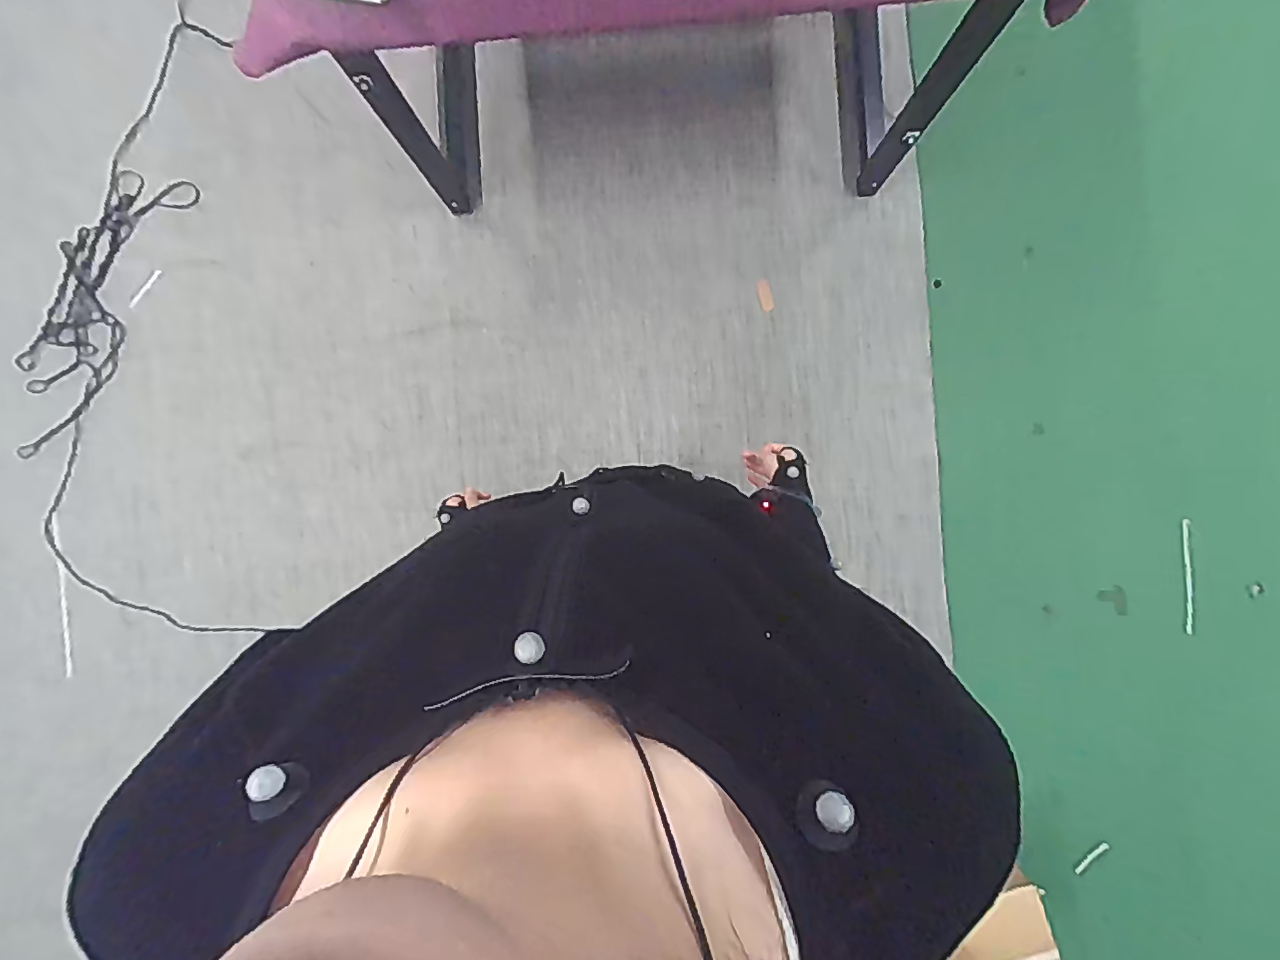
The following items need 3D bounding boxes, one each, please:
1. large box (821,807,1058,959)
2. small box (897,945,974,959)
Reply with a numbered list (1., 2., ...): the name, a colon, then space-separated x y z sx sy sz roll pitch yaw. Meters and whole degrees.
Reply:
1. large box: 0.730 1.103 1.347 0.408 0.320 0.320 -18 90 0
2. small box: 0.639 1.109 1.104 0.179 0.176 0.168 -13 90 1
